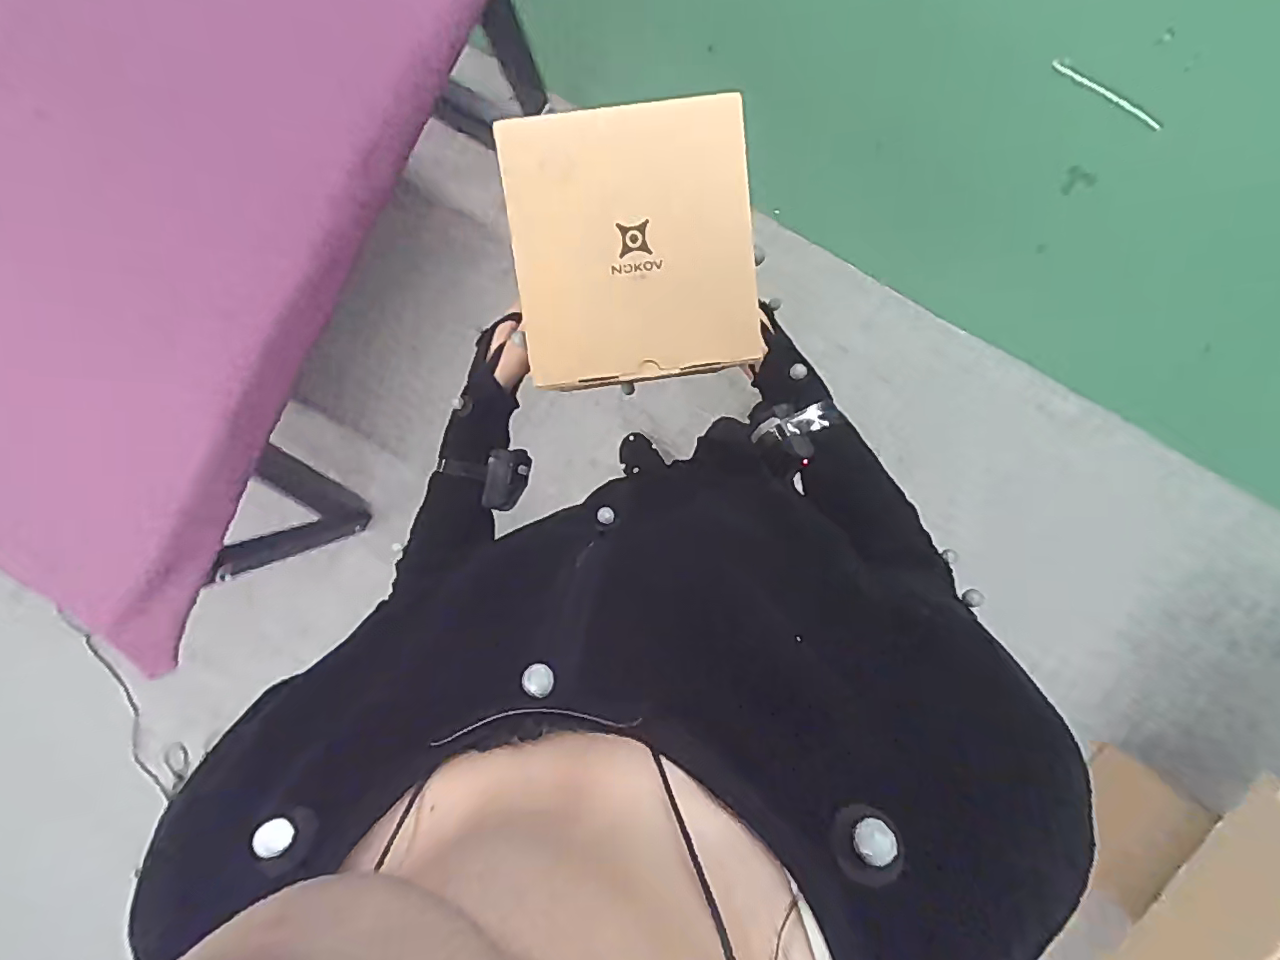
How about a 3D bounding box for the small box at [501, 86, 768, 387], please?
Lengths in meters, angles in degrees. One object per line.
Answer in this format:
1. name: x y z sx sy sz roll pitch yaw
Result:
1. small box: -0.005 -0.173 0.437 0.168 0.176 0.179 -7 99 -1
